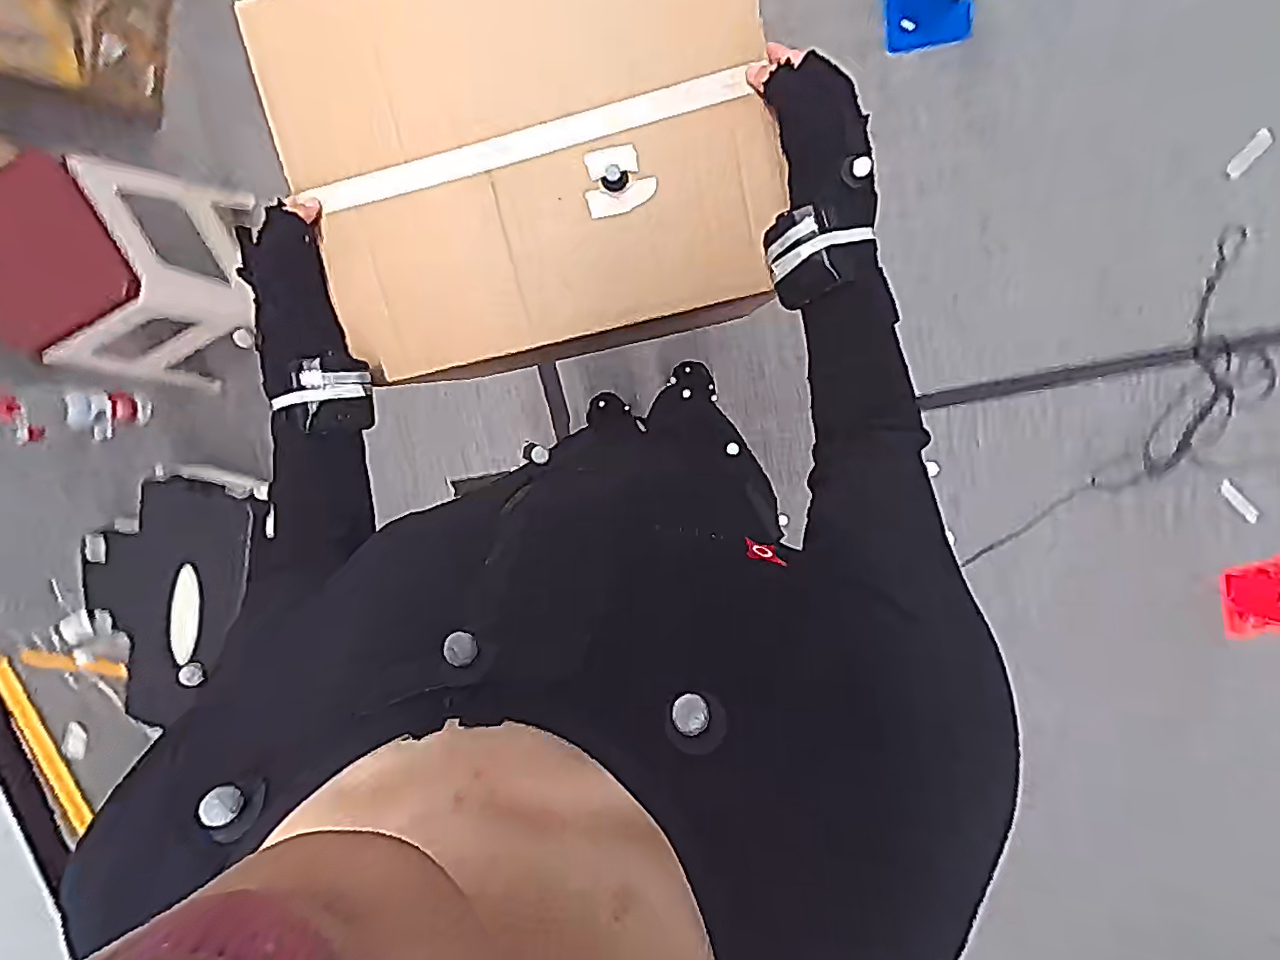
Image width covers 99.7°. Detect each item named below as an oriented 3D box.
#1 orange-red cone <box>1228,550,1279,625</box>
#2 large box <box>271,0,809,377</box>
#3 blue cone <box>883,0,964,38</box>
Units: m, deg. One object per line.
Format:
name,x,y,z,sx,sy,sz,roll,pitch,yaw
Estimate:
orange-red cone,1.696,0.321,1.297,0.199,0.360,0.198,-14,100,3
large box,-0.074,-0.308,0.595,0.408,0.320,0.320,-11,101,5
blue cone,0.647,-1.115,1.093,0.193,0.380,0.192,-9,99,3
